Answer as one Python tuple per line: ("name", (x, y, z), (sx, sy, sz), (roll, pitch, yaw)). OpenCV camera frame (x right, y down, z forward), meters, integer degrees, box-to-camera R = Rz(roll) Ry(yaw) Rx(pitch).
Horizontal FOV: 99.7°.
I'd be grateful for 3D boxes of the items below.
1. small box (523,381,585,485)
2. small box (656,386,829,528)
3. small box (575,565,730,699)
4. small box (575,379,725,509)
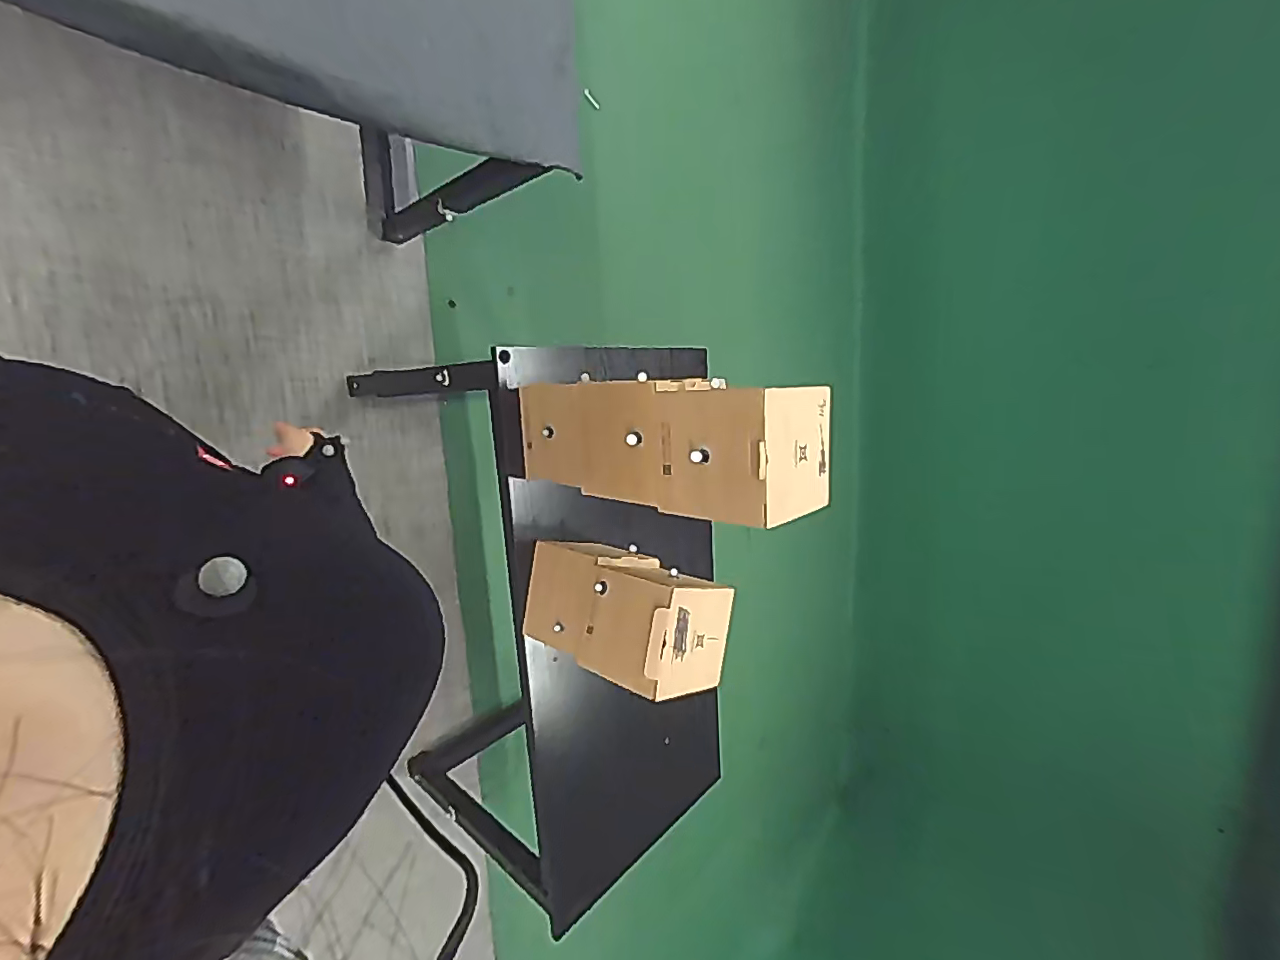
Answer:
("small box", (-0.093, -0.090, 0.954), (0.179, 0.176, 0.168), (-13, 106, -46))
("small box", (0.134, -0.039, 0.725), (0.179, 0.176, 0.168), (-10, 103, -45))
("small box", (0.019, 0.237, 0.881), (0.179, 0.176, 0.168), (14, 86, -48))
("small box", (0.015, -0.065, 0.834), (0.168, 0.176, 0.179), (-13, 105, -46))
